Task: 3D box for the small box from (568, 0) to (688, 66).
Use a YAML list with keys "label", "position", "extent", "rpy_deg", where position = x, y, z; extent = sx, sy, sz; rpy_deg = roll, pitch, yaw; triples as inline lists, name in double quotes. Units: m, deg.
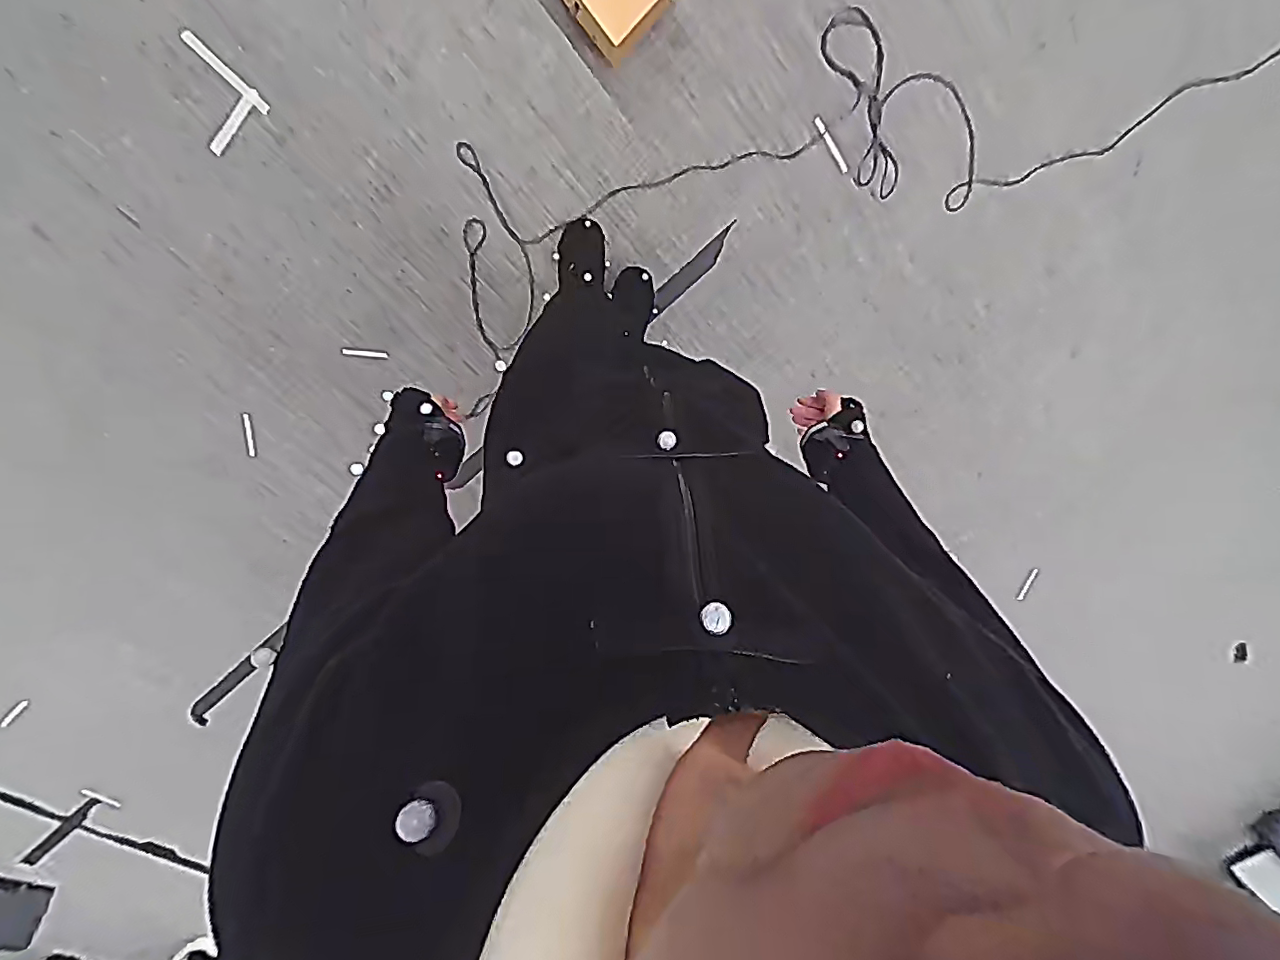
- label: "small box"
  position: [-0.021, -0.924, 0.974]
  extent: [0.179, 0.176, 0.168]
  rpy_deg: [42, 87, -4]
